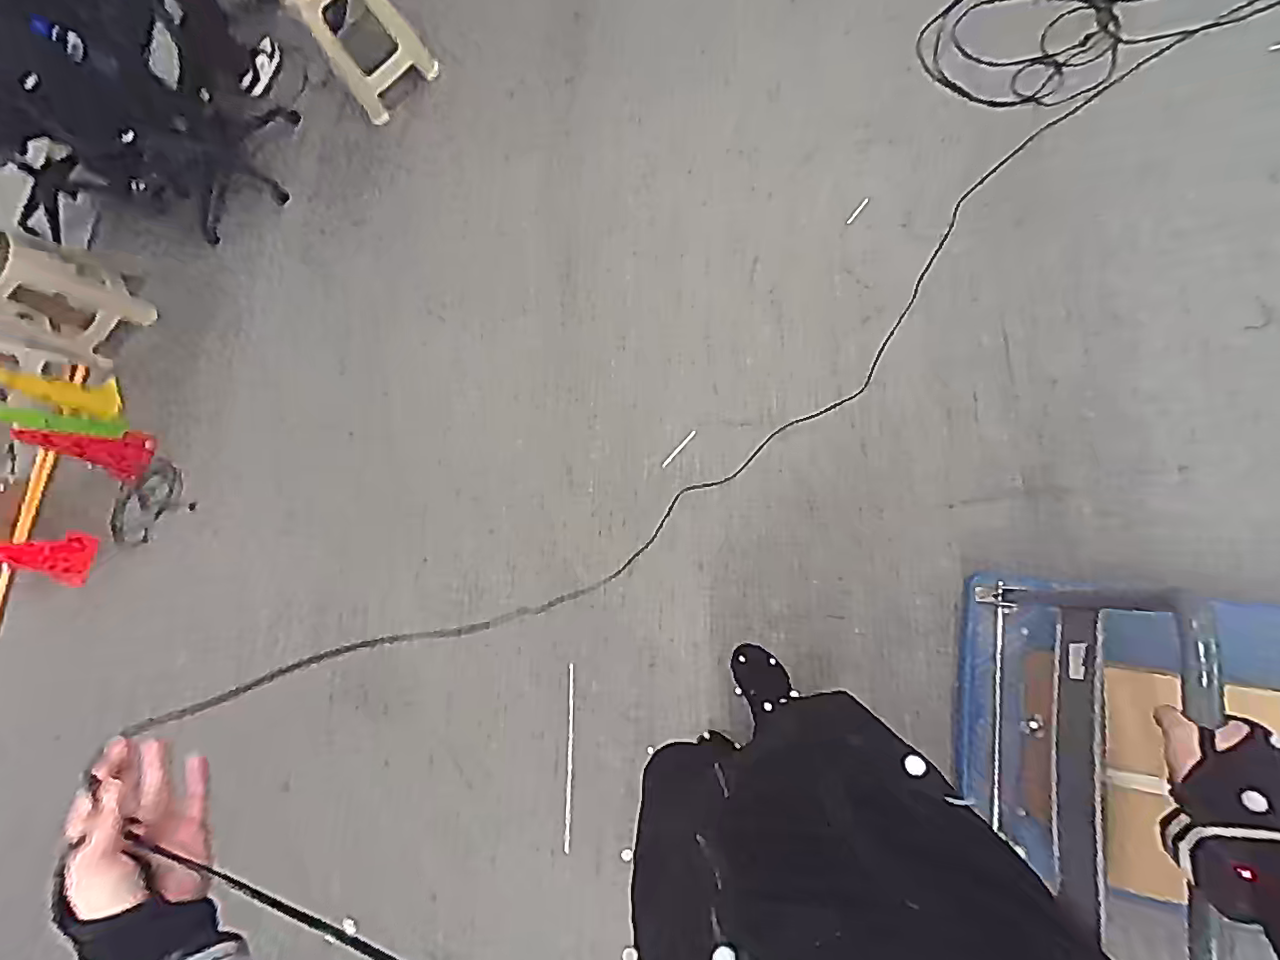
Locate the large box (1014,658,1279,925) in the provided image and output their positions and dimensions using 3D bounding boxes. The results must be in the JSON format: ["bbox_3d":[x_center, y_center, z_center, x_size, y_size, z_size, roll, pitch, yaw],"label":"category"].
[{"bbox_3d":[0.921,0.495,0.914,0.408,0.320,0.320,4,79,16],"label":"large box"}]
